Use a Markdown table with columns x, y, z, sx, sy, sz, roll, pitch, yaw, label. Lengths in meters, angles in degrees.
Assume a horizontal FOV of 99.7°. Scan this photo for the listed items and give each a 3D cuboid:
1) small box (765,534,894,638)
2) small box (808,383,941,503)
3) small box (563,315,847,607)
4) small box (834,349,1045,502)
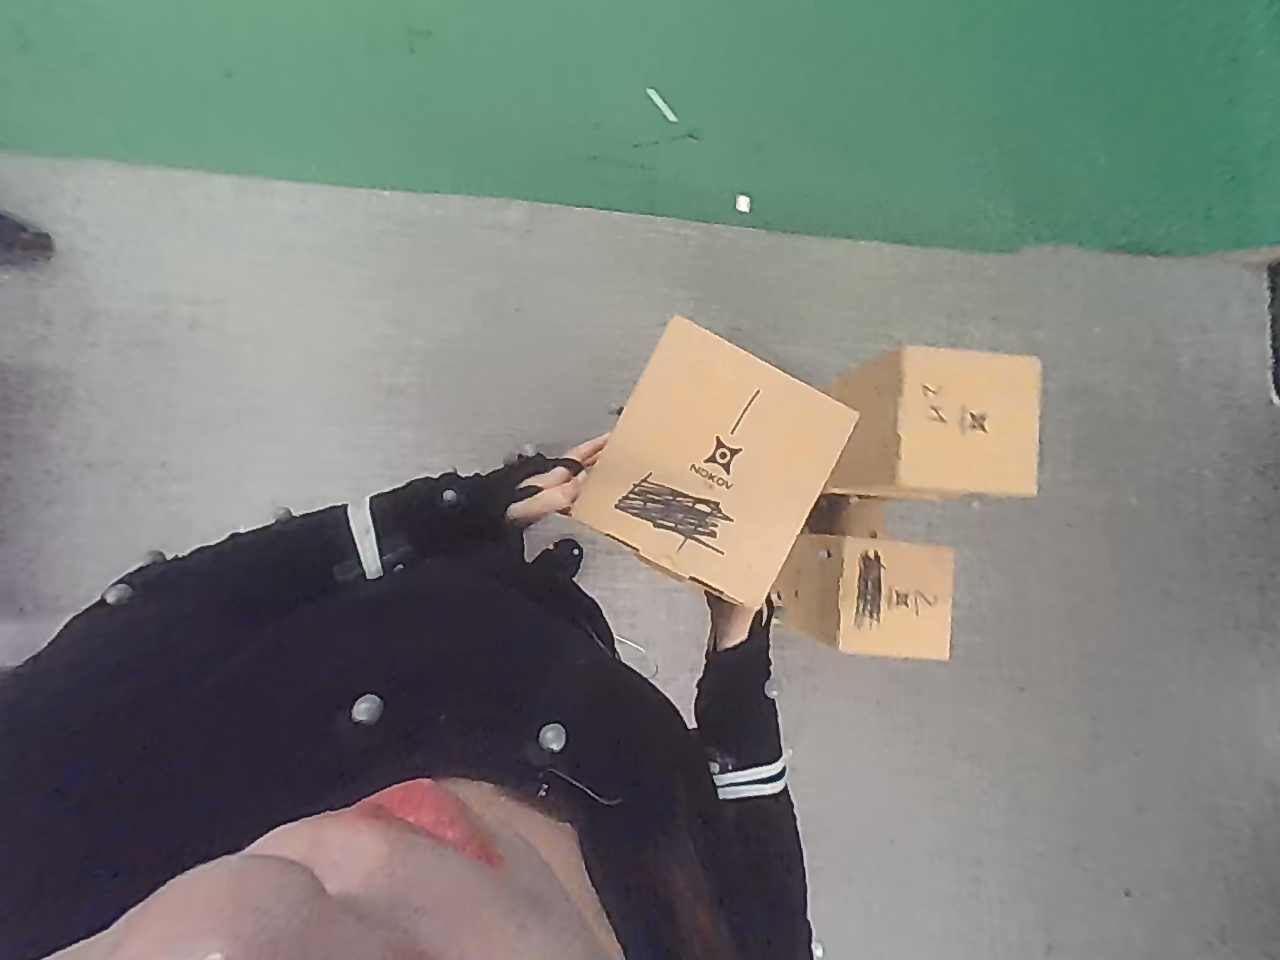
| x | y | z | sx | sy | sz | roll | pitch | yaw | label |
| --- | --- | --- | --- | --- | --- | --- | --- | --- | --- |
| 0.349 | 0.193 | 1.022 | 0.179 | 0.176 | 0.168 | 6 | 86 | -7 | small box |
| 0.360 | -0.051 | 0.872 | 0.179 | 0.176 | 0.168 | 5 | 88 | -5 | small box |
| 0.048 | -0.016 | 0.493 | 0.168 | 0.176 | 0.179 | 26 | 90 | -4 | small box |
| 0.379 | -0.061 | 0.708 | 0.179 | 0.176 | 0.168 | 5 | 87 | -5 | small box |
